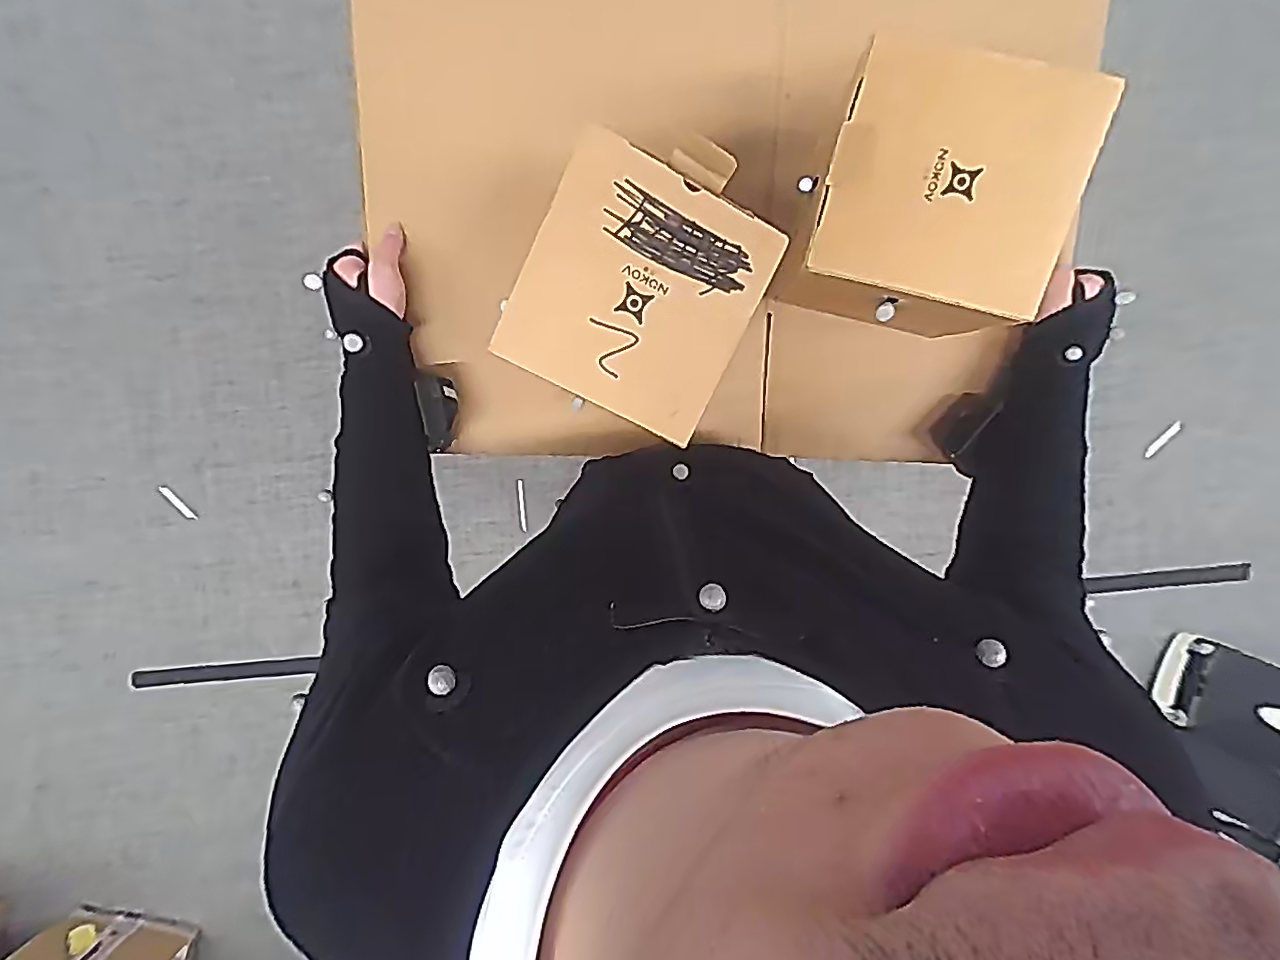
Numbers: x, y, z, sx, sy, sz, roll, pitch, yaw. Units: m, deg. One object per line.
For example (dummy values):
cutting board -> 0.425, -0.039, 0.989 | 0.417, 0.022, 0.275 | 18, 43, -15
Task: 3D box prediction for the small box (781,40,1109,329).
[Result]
small box -> 0.241, -0.237, 0.483 | 0.179, 0.176, 0.168 | 15, 102, 4
